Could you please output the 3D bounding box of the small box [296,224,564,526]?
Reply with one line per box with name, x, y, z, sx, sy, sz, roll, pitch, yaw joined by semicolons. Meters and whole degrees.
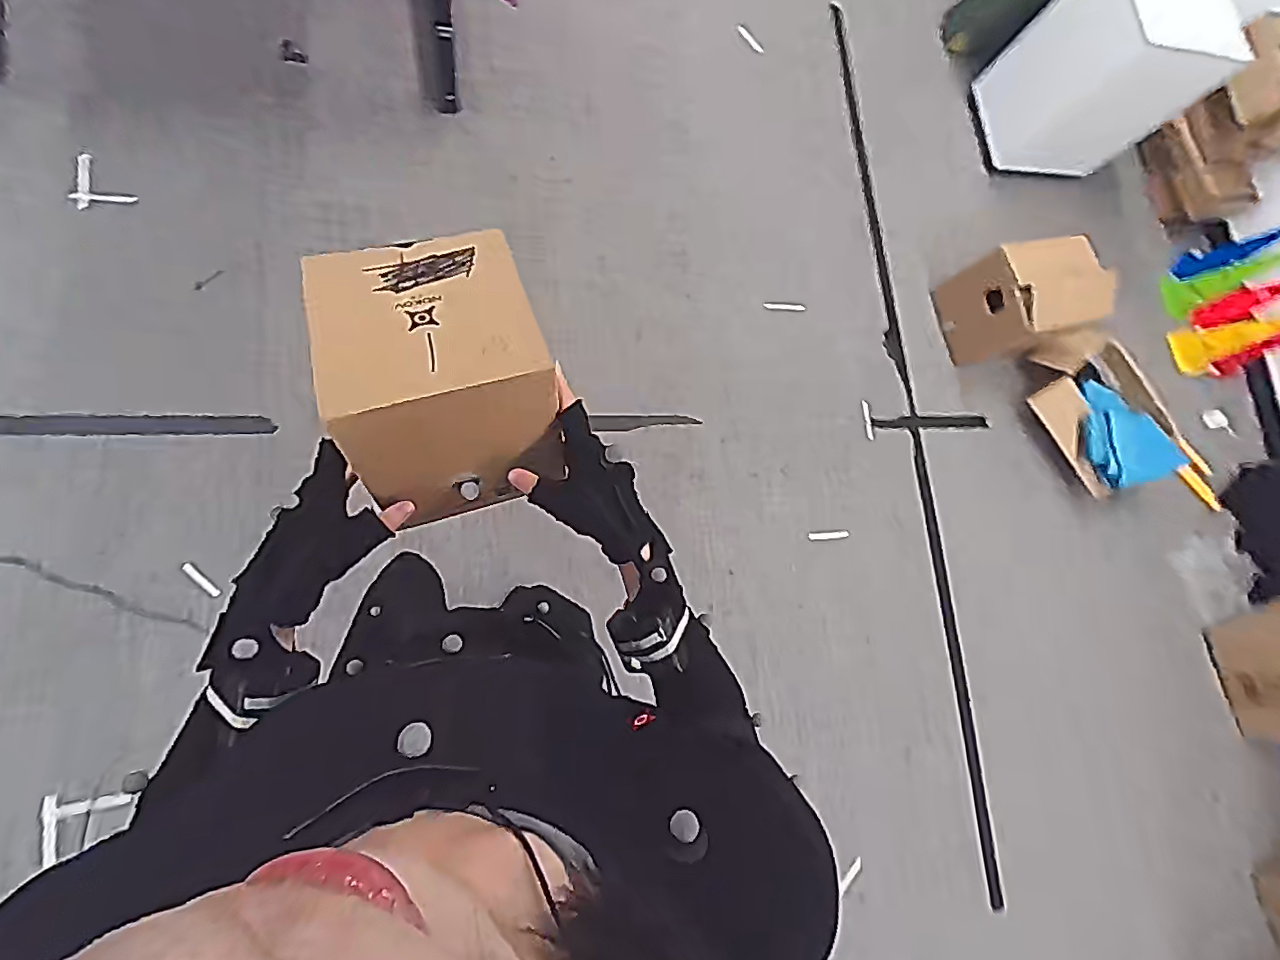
small box;-0.172;-0.088;0.475;0.168;0.176;0.179;-18;61;-14
